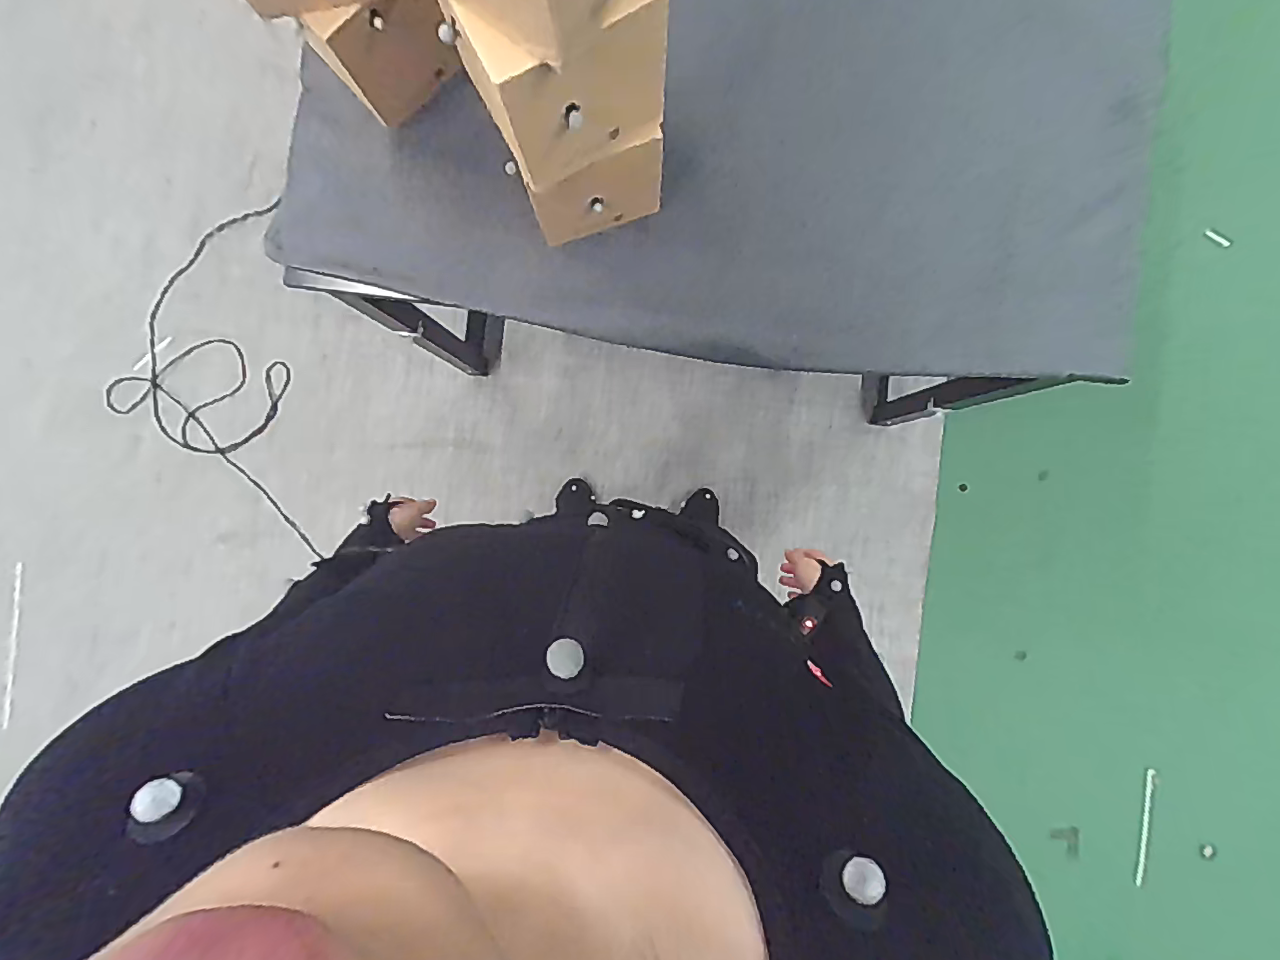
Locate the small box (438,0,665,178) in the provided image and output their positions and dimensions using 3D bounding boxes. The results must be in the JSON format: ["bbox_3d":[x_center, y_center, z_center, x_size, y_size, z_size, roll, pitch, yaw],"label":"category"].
[{"bbox_3d":[-0.086,-0.432,0.524,0.168,0.176,0.179,-29,89,1],"label":"small box"}]

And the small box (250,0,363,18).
[{"bbox_3d":[-0.356,-0.610,0.528,0.179,0.176,0.168,-11,90,1],"label":"small box"}]

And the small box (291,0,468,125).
[{"bbox_3d":[-0.352,-0.614,0.692,0.168,0.176,0.179,-43,89,1],"label":"small box"}]

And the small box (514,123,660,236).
[{"bbox_3d":[-0.076,-0.436,0.686,0.168,0.176,0.179,-18,89,0],"label":"small box"}]

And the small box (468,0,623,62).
[{"bbox_3d":[-0.084,-0.442,0.361,0.179,0.176,0.168,36,91,1],"label":"small box"}]
